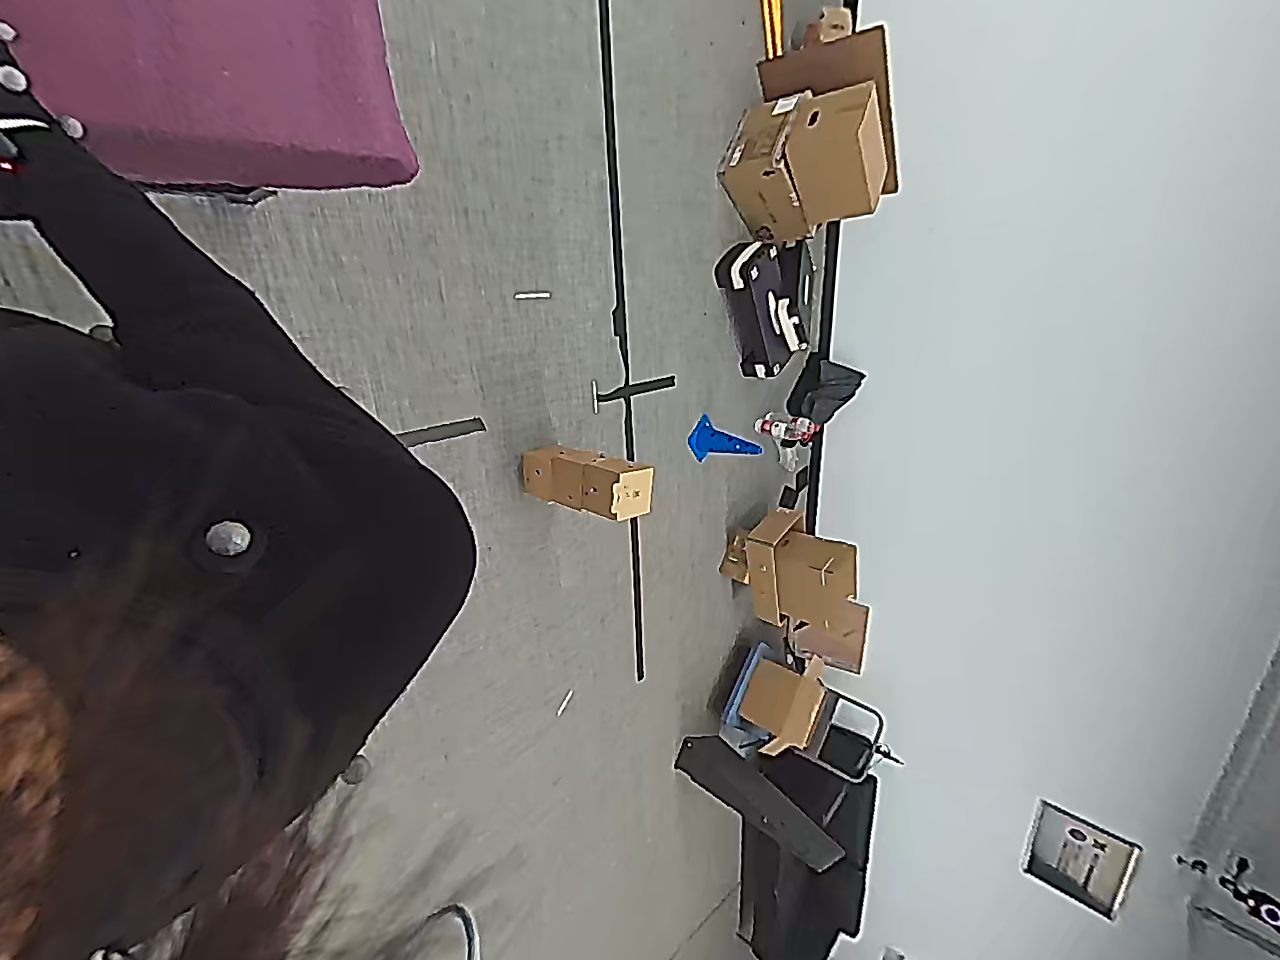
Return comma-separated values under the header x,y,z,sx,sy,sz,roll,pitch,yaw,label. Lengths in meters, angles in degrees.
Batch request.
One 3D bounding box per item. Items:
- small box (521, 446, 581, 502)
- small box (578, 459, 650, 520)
x,y,z,sx,sy,sz,roll,pitch,yaw,label
-0.344,-0.029,2.069,0.179,0.176,0.168,-18,116,-46,small box
-0.089,0.026,1.866,0.179,0.176,0.168,-11,110,-47,small box
